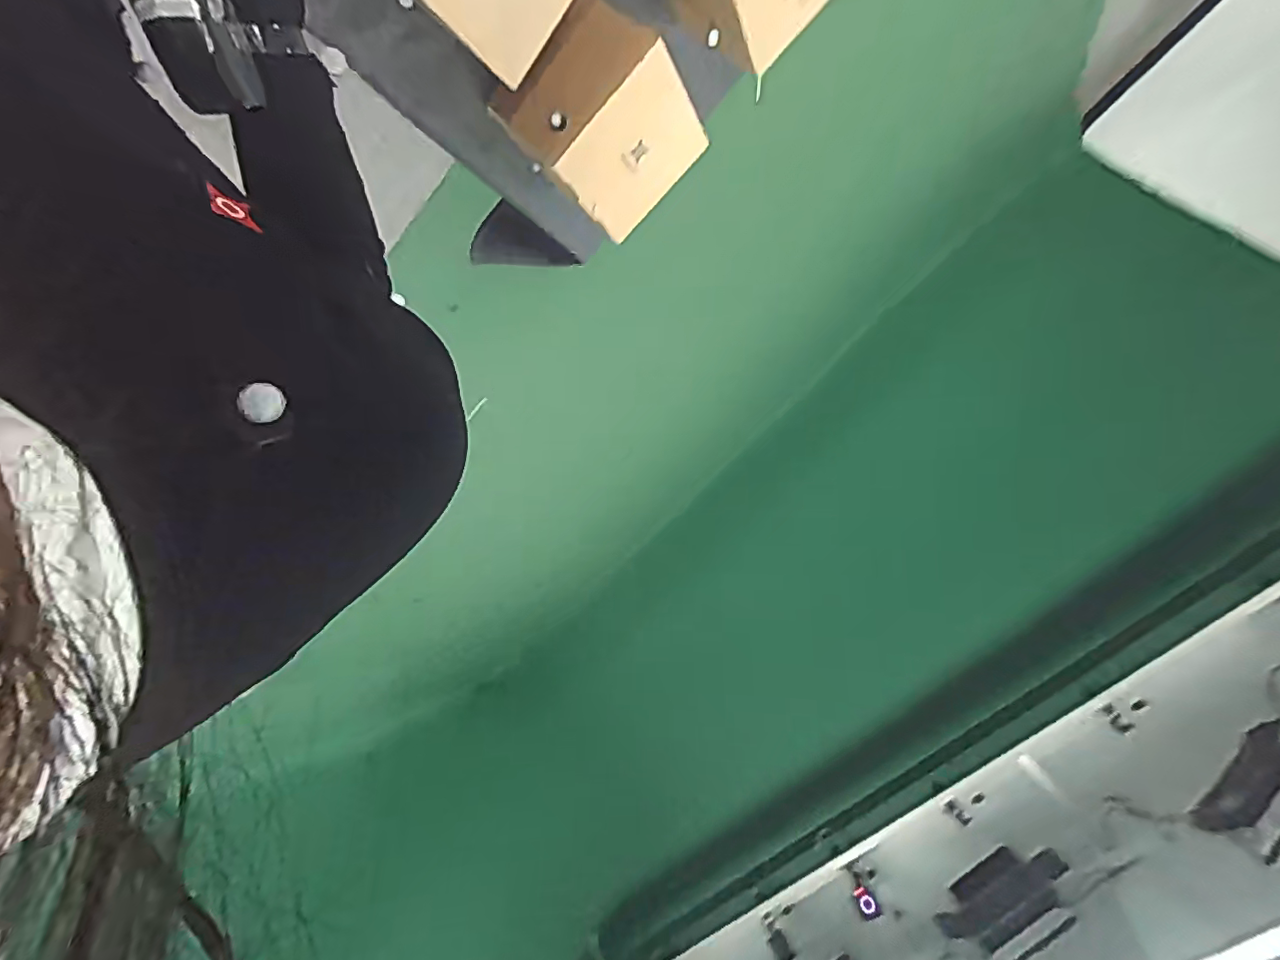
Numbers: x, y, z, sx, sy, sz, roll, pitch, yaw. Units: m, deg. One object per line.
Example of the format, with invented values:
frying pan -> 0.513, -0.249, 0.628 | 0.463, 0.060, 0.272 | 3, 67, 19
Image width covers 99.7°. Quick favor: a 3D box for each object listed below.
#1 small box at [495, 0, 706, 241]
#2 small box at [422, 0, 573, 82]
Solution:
small box -> -0.050, -0.461, 0.694 | 0.179, 0.176, 0.168 | -44, 156, 12
small box -> -0.154, -0.503, 0.457 | 0.168, 0.176, 0.179 | -46, 157, 18
